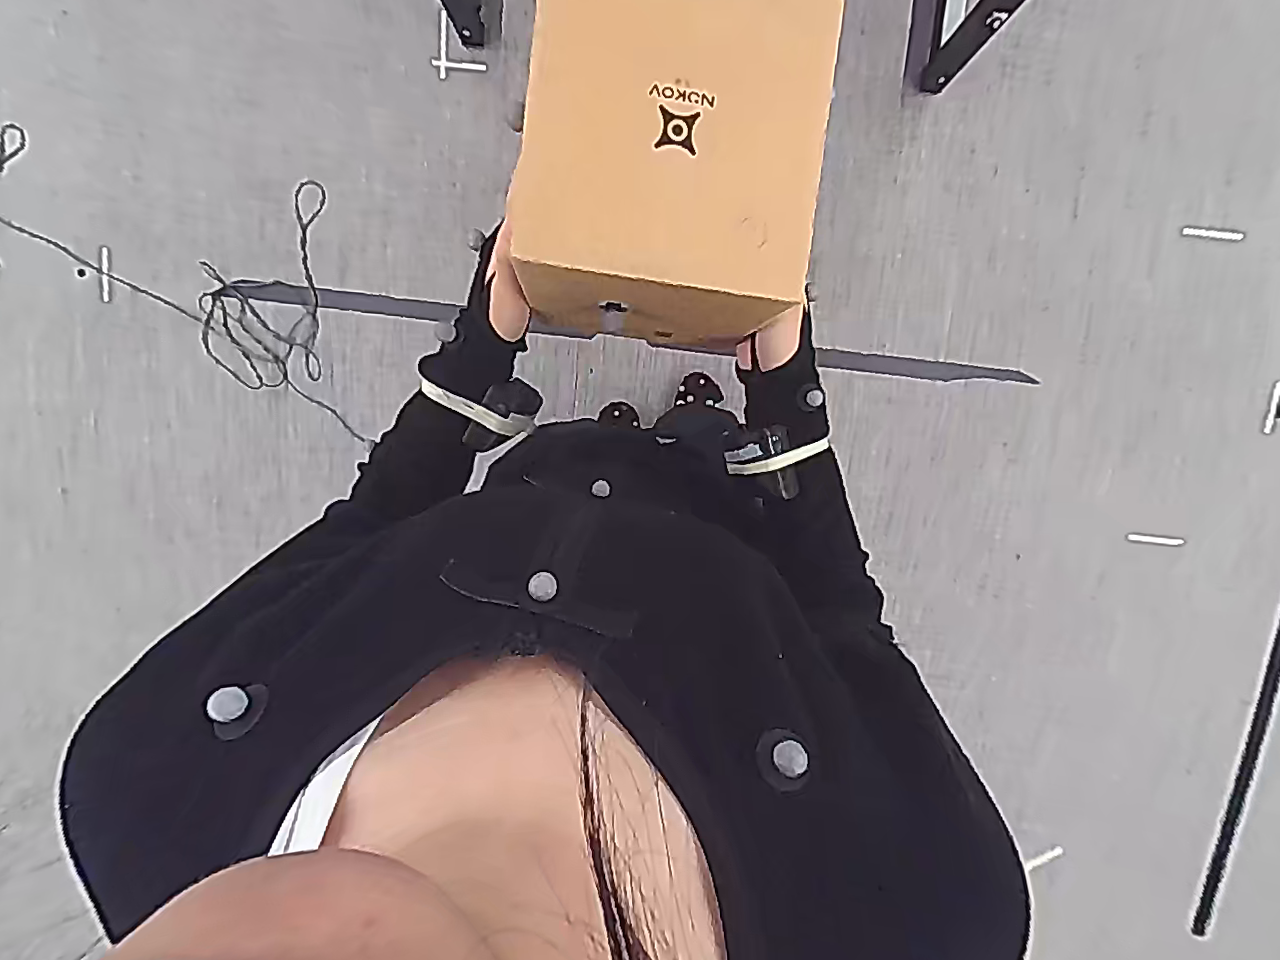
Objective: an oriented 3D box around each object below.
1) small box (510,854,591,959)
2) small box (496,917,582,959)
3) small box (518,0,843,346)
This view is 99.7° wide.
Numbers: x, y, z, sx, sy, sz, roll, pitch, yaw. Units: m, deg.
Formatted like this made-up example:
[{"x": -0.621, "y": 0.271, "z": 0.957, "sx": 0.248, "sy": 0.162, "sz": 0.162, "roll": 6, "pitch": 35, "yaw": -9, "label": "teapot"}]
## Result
[{"x": -0.205, "y": 1.023, "z": 1.262, "sx": 0.168, "sy": 0.176, "sz": 0.179, "roll": 3, "pitch": 97, "yaw": 0, "label": "small box"}, {"x": -0.211, "y": 1.040, "z": 1.101, "sx": 0.168, "sy": 0.176, "sz": 0.179, "roll": 2, "pitch": 99, "yaw": 2, "label": "small box"}, {"x": 0.017, "y": -0.201, "z": 0.379, "sx": 0.168, "sy": 0.176, "sz": 0.179, "roll": 6, "pitch": 92, "yaw": -6, "label": "small box"}]
